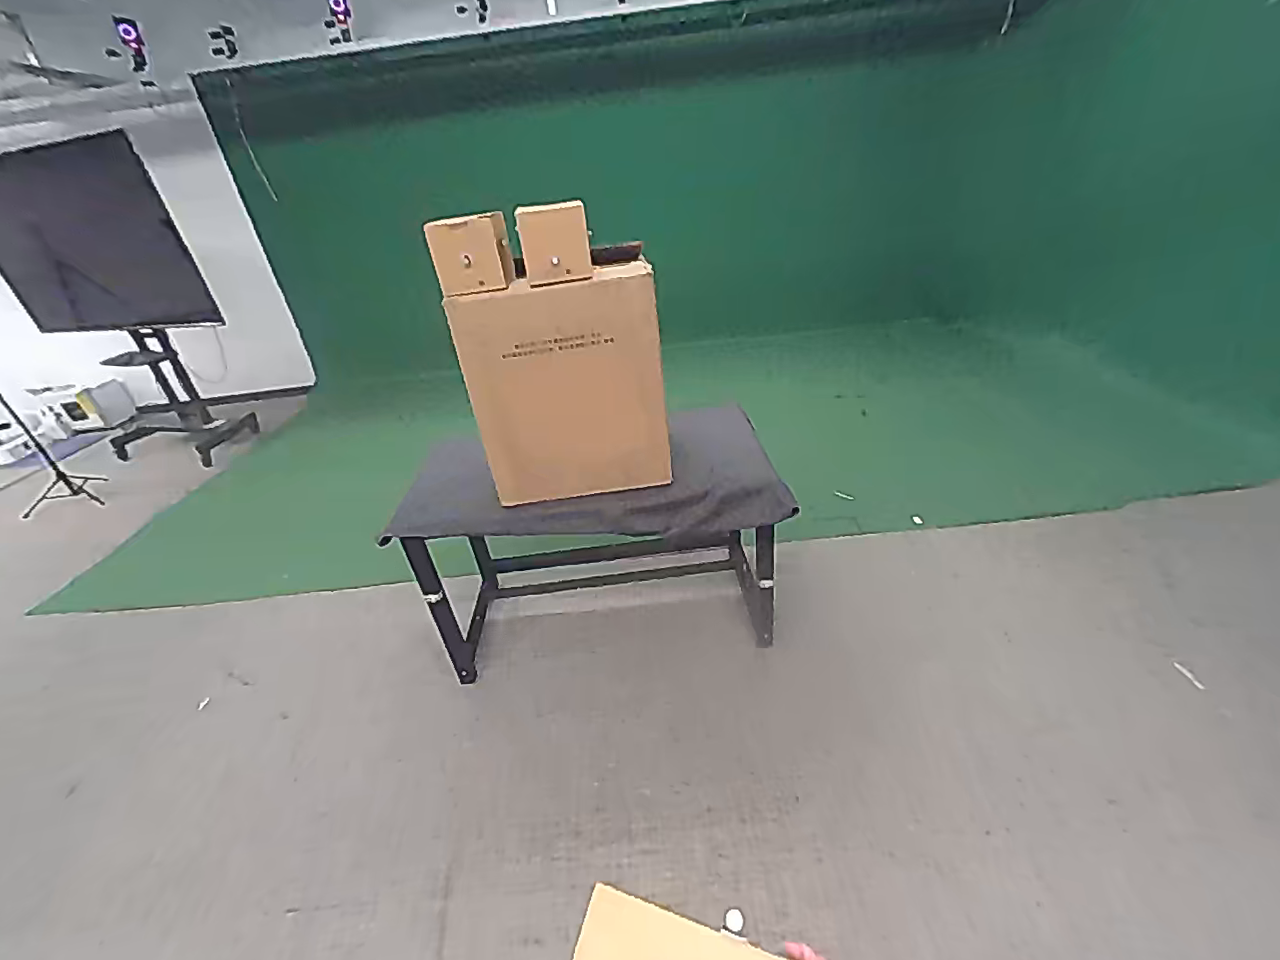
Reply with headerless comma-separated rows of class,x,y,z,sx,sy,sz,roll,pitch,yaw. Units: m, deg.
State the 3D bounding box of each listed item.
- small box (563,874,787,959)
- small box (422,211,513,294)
small box,0.027,0.452,0.428,0.168,0.176,0.179,4,51,22
small box,-0.437,-0.588,1.405,0.168,0.176,0.179,-8,31,1
